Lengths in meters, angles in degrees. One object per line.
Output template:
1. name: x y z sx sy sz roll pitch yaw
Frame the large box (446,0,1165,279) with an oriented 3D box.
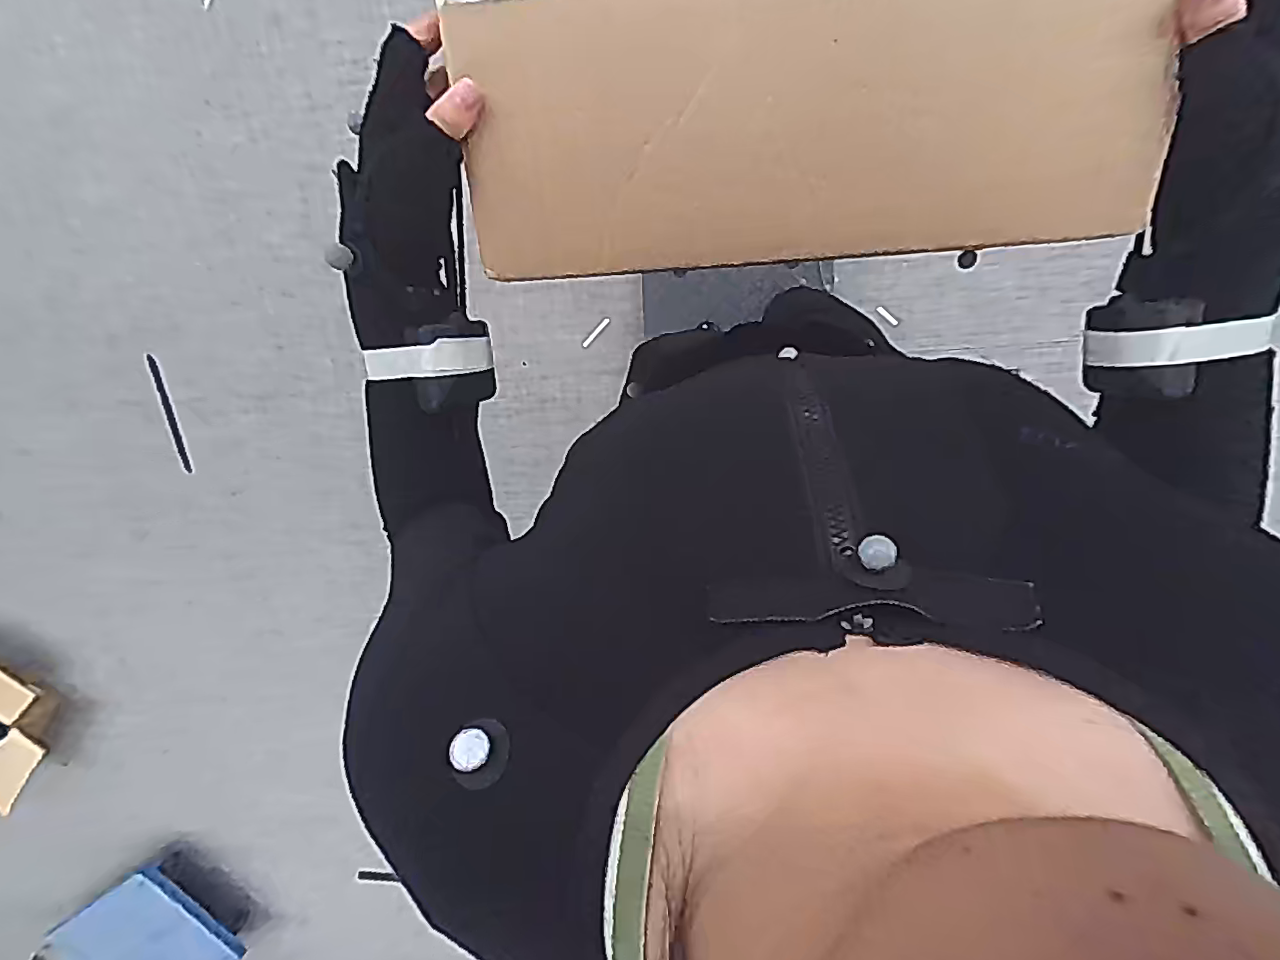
1. large box: 0.095 -0.350 0.426 0.408 0.320 0.320 -2 114 5
